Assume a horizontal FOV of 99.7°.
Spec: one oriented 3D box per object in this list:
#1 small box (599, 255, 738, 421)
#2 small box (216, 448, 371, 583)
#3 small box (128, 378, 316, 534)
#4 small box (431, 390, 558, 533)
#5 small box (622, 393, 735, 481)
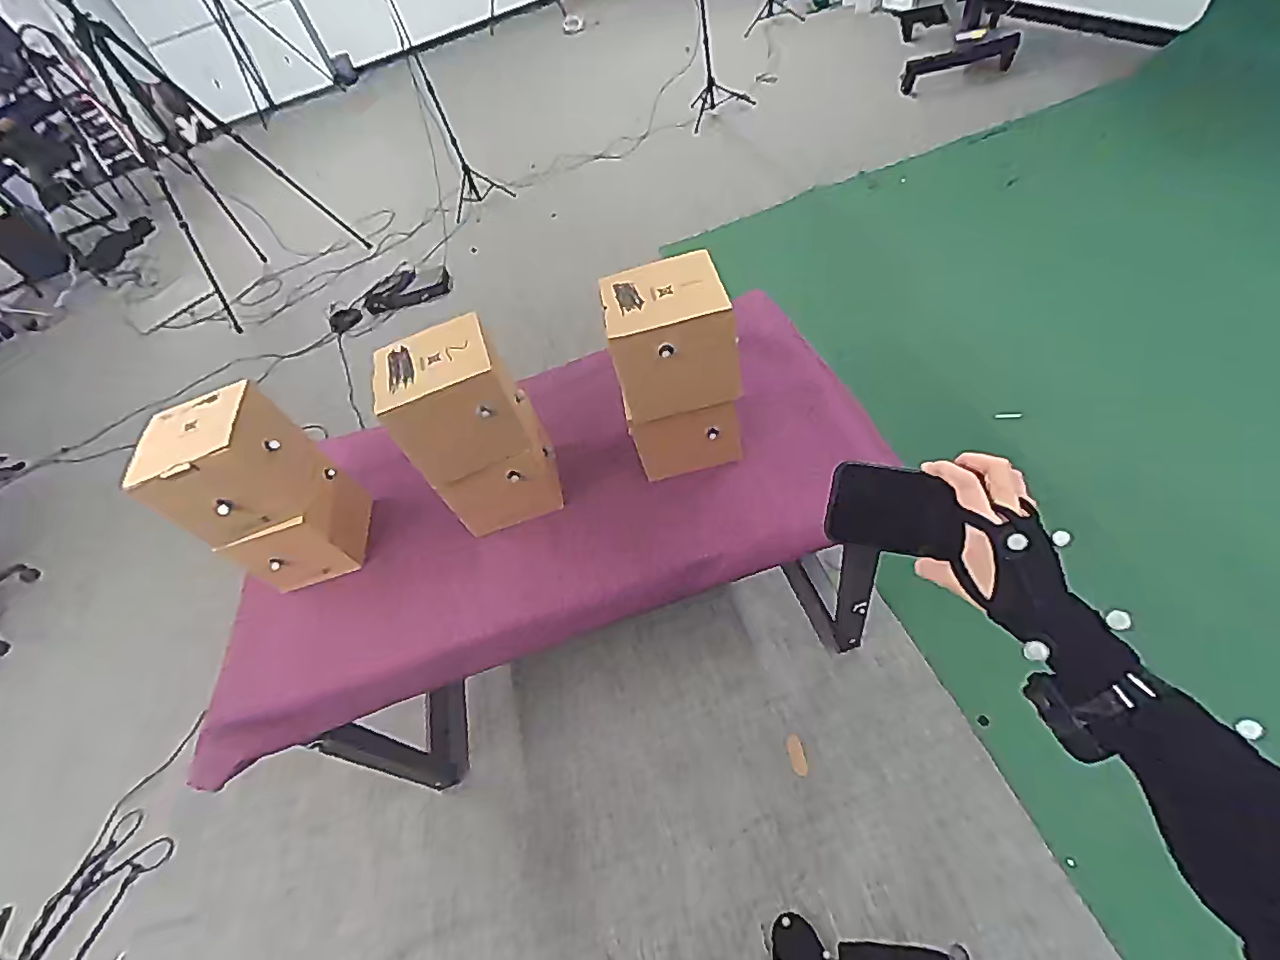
[{"bbox_3d":[0.045,-0.213,0.838,0.179,0.176,0.168,-13,50,5],"label":"small box"},{"bbox_3d":[-0.634,0.075,1.016,0.168,0.176,0.179,-17,50,2],"label":"small box"},{"bbox_3d":[-0.672,-0.031,0.896,0.168,0.176,0.179,-21,50,-2],"label":"small box"},{"bbox_3d":[-0.258,-0.029,0.990,0.179,0.176,0.168,-18,50,2],"label":"small box"},{"bbox_3d":[0.070,-0.122,0.973,0.179,0.176,0.168,-13,50,6],"label":"small box"}]
